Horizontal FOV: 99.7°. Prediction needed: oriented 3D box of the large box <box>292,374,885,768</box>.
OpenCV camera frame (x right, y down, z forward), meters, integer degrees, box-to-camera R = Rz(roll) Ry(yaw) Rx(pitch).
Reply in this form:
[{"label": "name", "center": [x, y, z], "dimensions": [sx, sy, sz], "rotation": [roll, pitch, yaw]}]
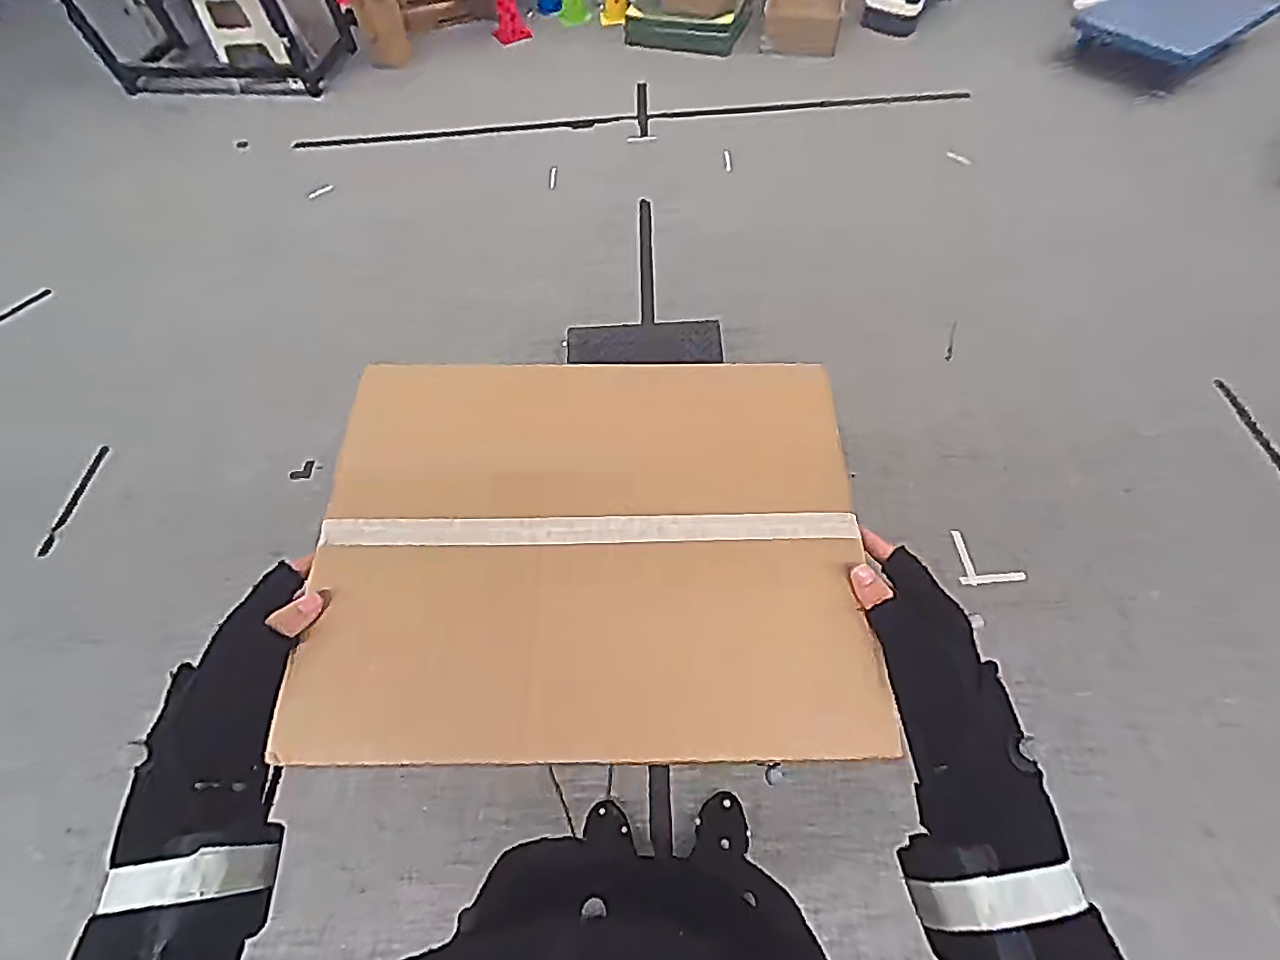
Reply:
[{"label": "large box", "center": [-0.035, 0.108, 0.555], "dimensions": [0.408, 0.320, 0.320], "rotation": [0, 64, -1]}]
